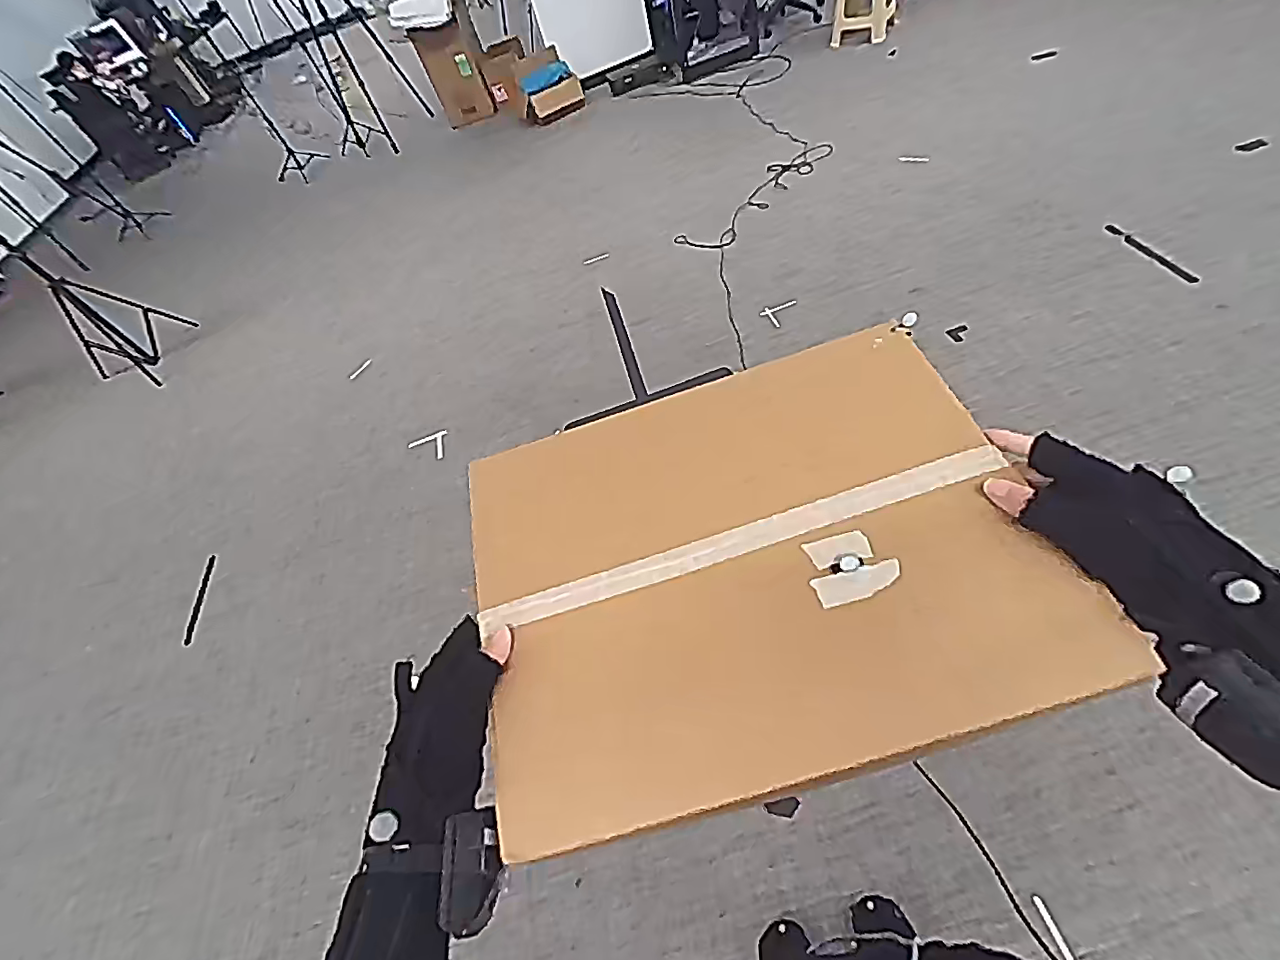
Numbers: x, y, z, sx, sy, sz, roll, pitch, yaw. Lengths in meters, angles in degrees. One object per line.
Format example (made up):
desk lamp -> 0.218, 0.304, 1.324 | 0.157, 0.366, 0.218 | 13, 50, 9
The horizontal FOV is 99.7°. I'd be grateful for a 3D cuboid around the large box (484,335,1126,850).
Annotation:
large box -> 0.106, 0.128, 0.542 | 0.408, 0.320, 0.320 | -18, 57, 2
